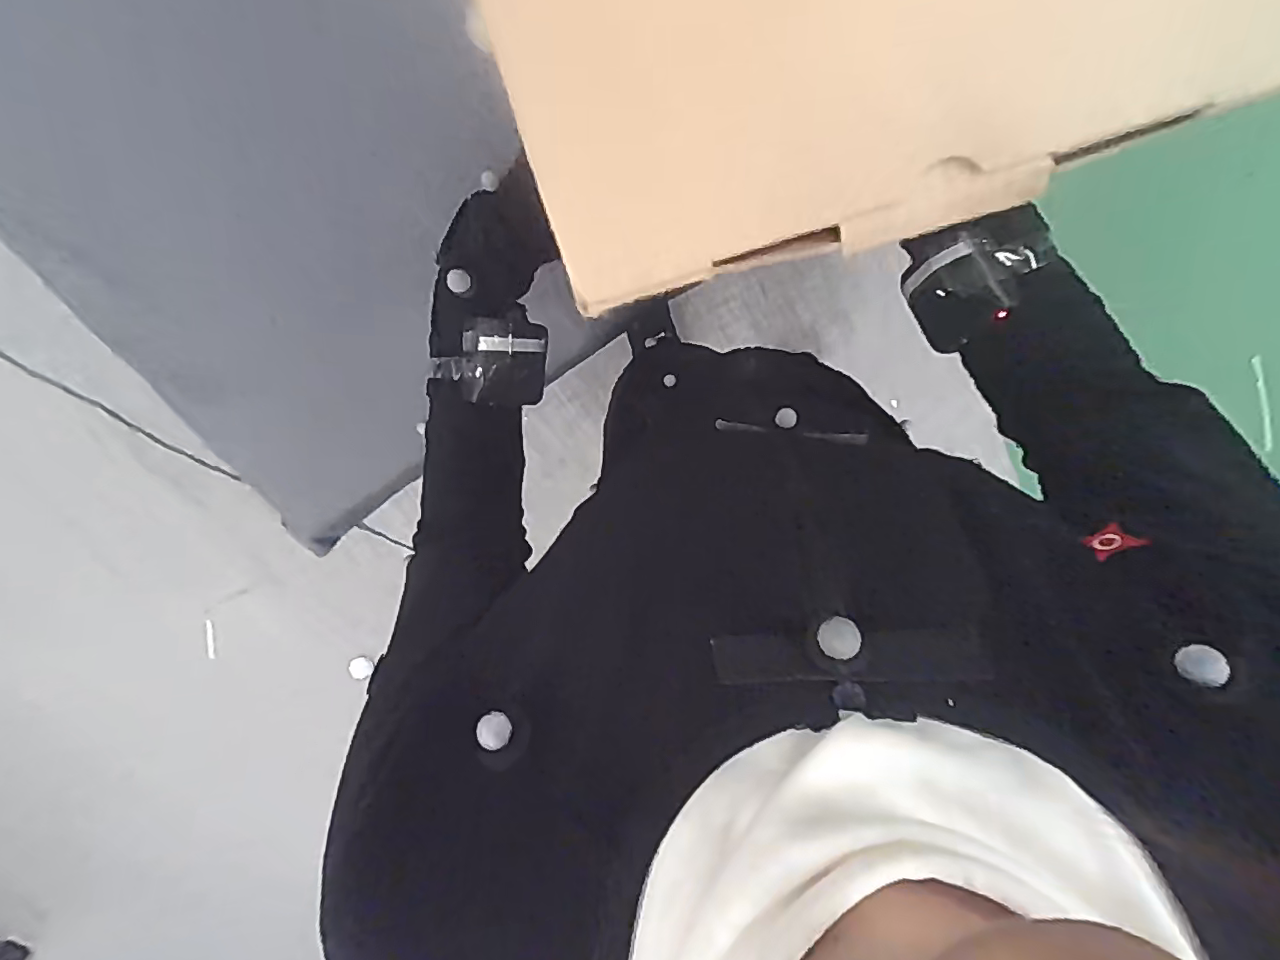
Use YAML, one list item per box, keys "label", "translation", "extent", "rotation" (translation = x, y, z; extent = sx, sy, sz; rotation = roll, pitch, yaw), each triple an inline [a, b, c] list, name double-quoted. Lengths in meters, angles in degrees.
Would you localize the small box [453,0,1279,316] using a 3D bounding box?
- label: "small box"
  translation: [0.034, -0.169, 0.148]
  extent: [0.168, 0.176, 0.179]
  rotation: [-16, 118, 5]
